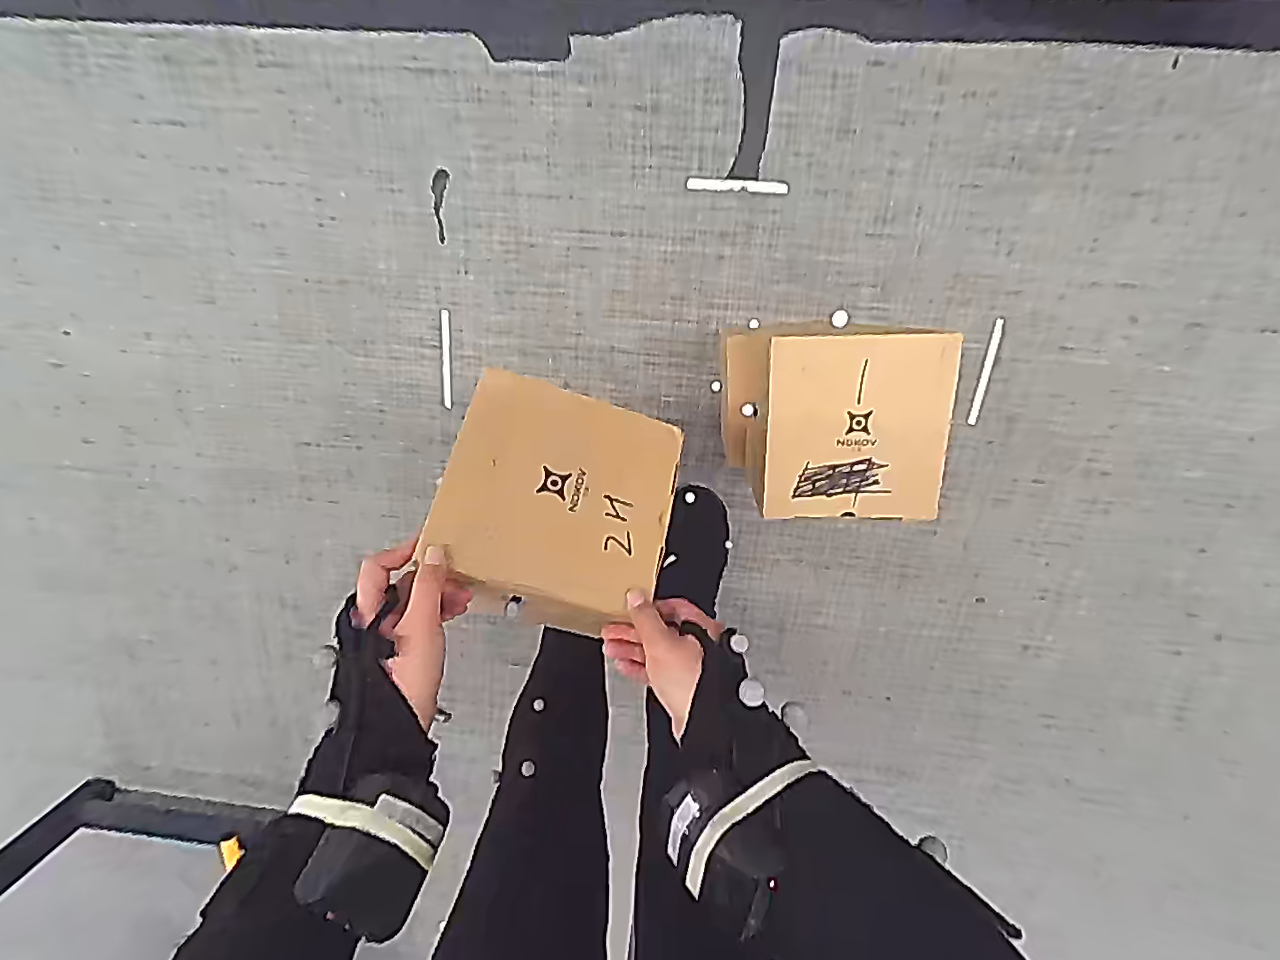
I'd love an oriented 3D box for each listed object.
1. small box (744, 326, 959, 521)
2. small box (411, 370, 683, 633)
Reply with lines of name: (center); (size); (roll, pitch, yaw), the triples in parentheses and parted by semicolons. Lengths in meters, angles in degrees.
small box: (0.203, -0.069, 0.576); (0.168, 0.176, 0.179); (0, 108, 5)
small box: (-0.083, 0.035, 0.486); (0.179, 0.176, 0.168); (18, 67, -12)
